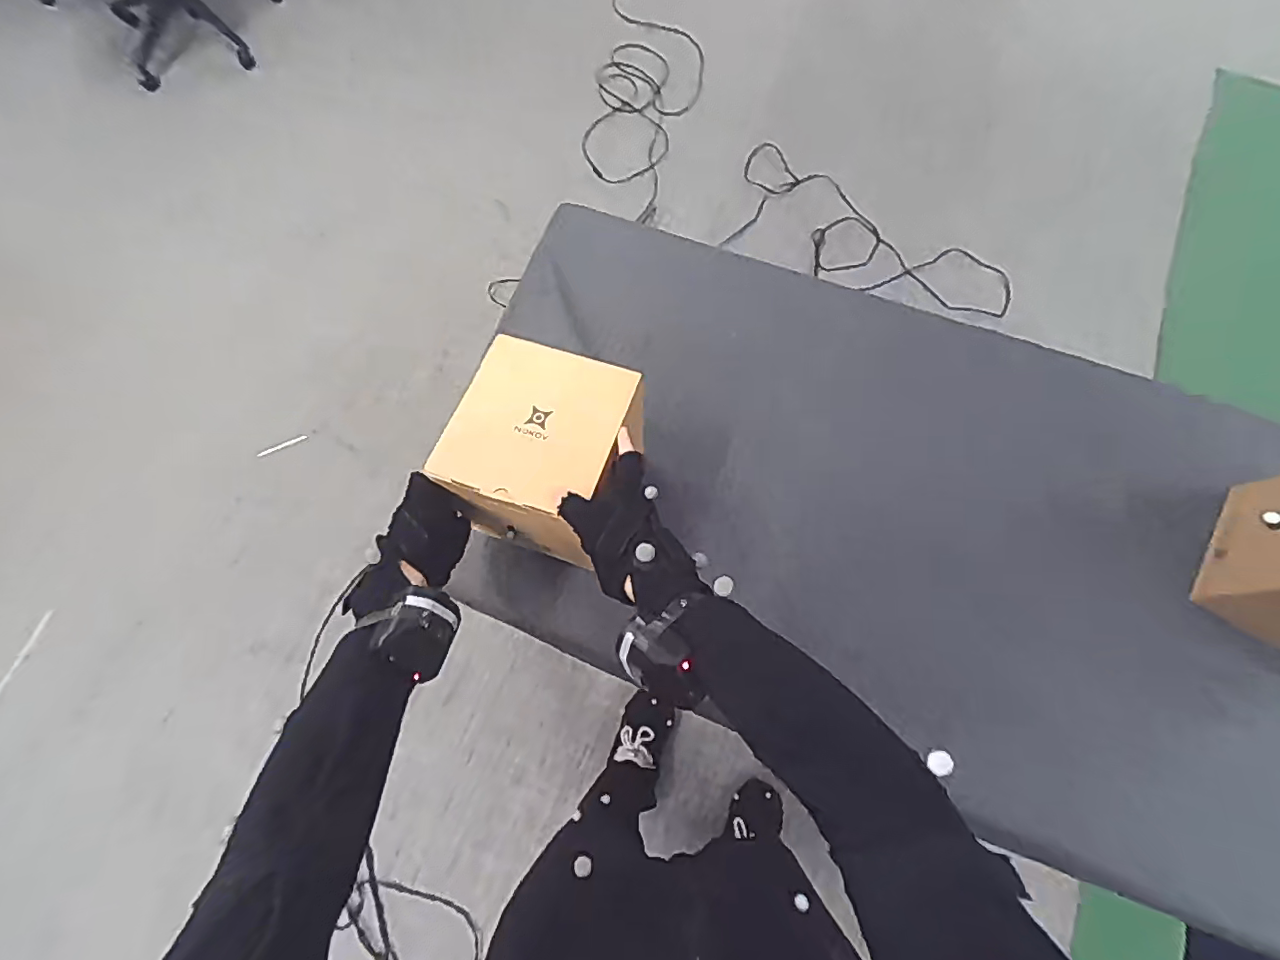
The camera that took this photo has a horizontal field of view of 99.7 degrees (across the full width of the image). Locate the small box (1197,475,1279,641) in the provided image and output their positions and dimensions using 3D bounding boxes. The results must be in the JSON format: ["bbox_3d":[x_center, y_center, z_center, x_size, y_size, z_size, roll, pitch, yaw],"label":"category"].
[{"bbox_3d":[0.753,0.088,0.556,0.179,0.176,0.168,32,77,12],"label":"small box"}]
